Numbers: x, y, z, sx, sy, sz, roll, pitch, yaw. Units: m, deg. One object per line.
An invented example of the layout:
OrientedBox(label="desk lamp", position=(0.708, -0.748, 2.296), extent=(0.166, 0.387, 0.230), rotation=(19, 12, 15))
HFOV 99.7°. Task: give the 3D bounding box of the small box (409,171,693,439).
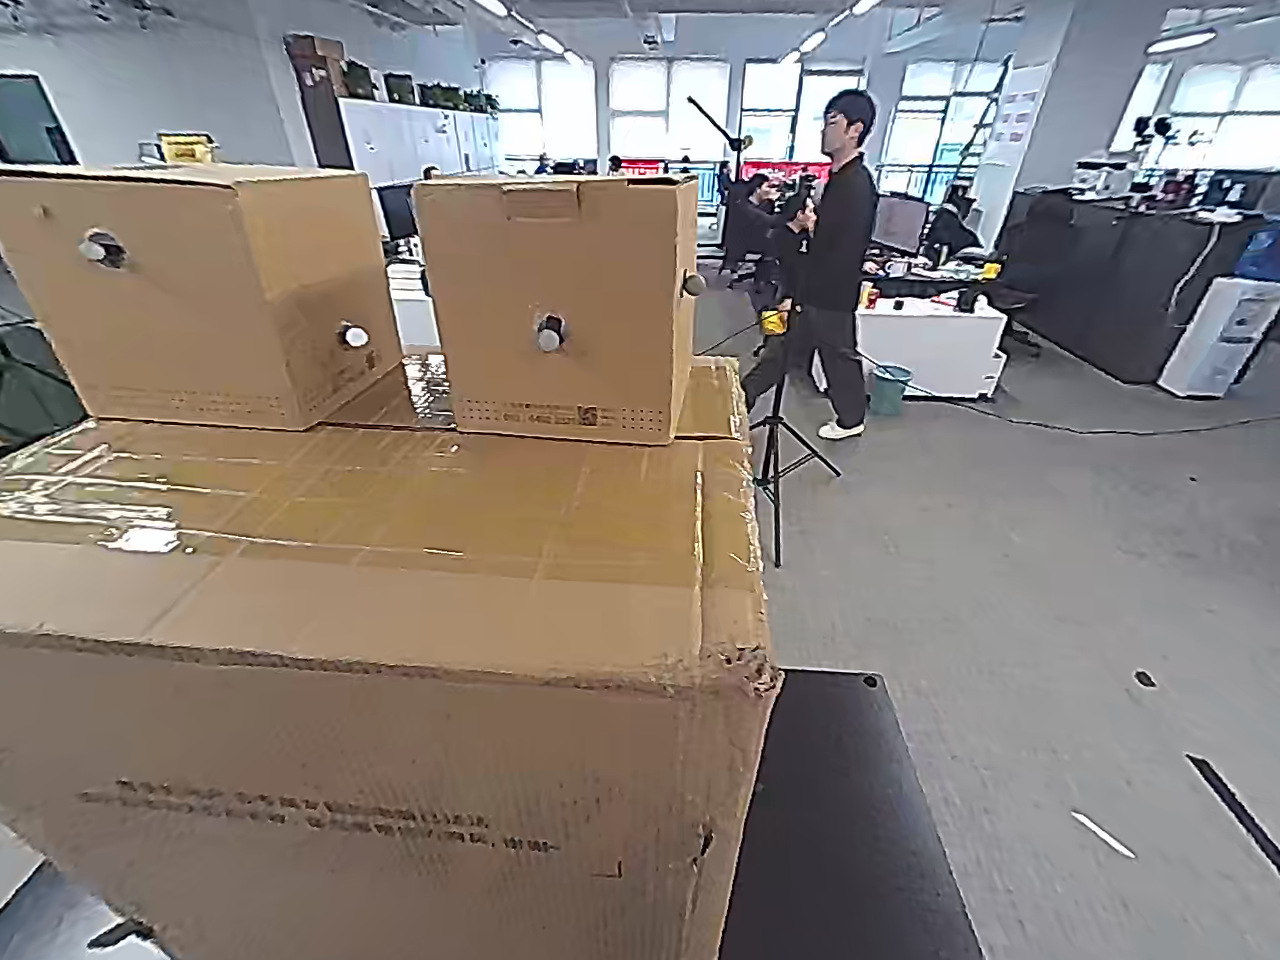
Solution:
OrientedBox(label="small box", position=(-0.047, -0.142, 0.426), extent=(0.168, 0.176, 0.179), rotation=(4, 31, 7))

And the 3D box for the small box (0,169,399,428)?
OrientedBox(label="small box", position=(-0.326, -0.151, 0.437), extent=(0.179, 0.176, 0.168), rotation=(4, 32, 3))
